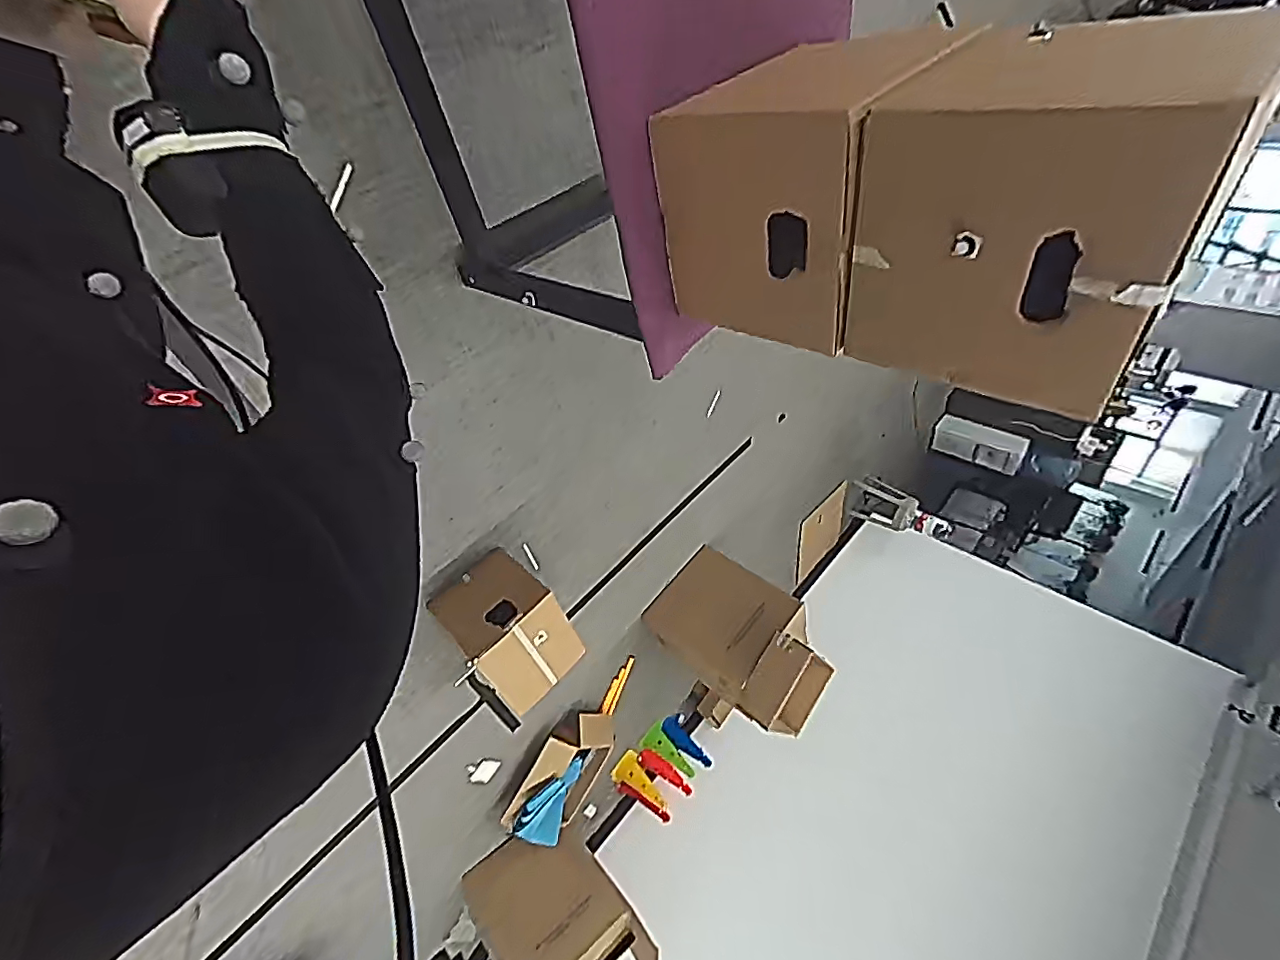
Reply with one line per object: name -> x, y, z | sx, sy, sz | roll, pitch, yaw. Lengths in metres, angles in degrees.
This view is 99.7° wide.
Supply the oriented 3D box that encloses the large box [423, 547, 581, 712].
large box -> -0.463, 0.510, 1.858 | 0.320, 0.320, 0.408 | -42, 139, -24
